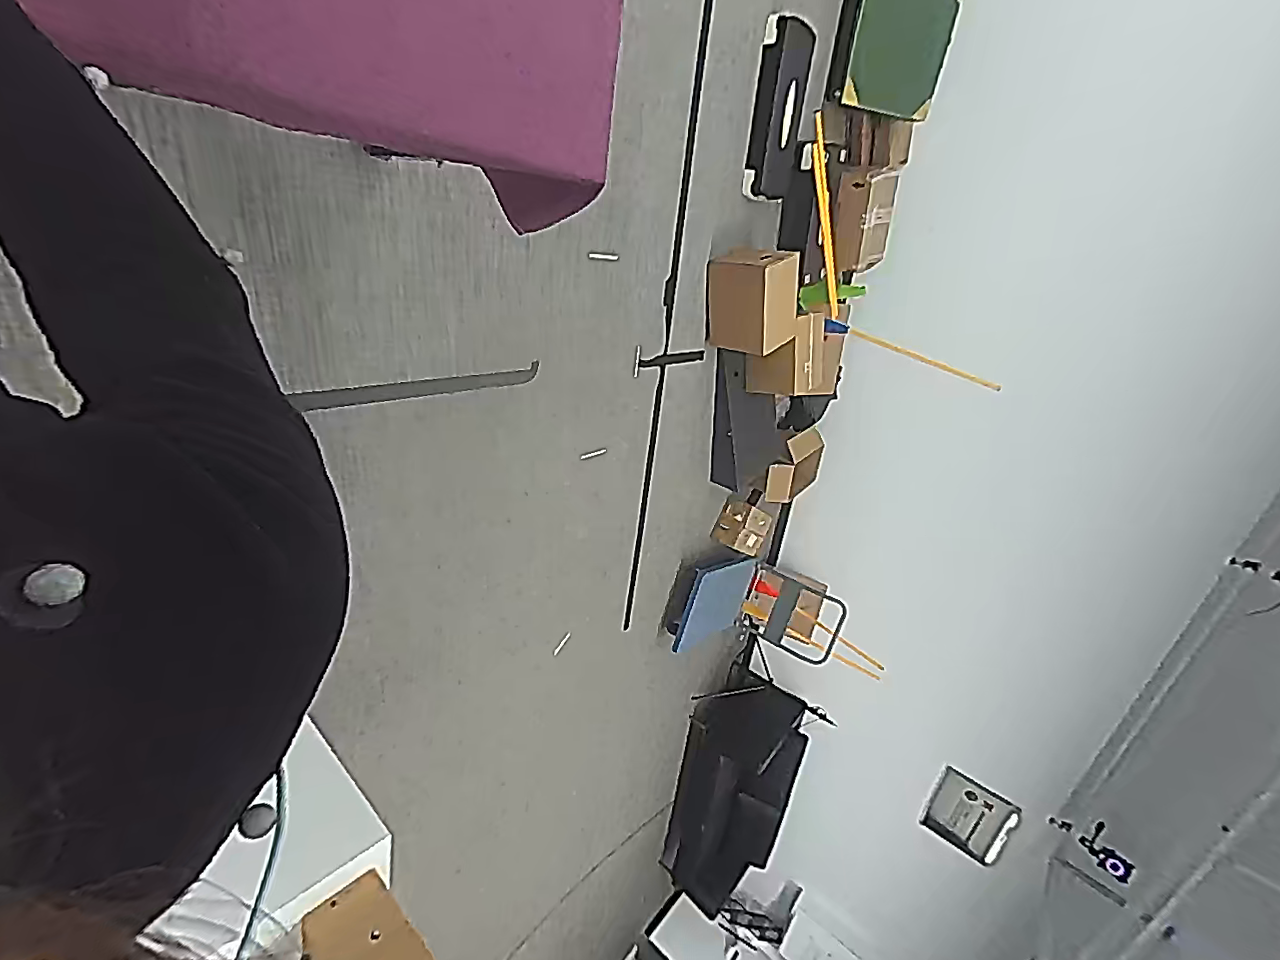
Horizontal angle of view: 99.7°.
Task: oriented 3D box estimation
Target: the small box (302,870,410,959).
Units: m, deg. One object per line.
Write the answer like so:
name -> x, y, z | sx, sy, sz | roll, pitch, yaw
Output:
small box -> -0.659, 1.067, 1.251 | 0.168, 0.176, 0.179 | -13, 123, -51

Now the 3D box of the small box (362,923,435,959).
small box -> -0.533, 1.123, 1.160 | 0.179, 0.176, 0.168 | -14, 121, -50
